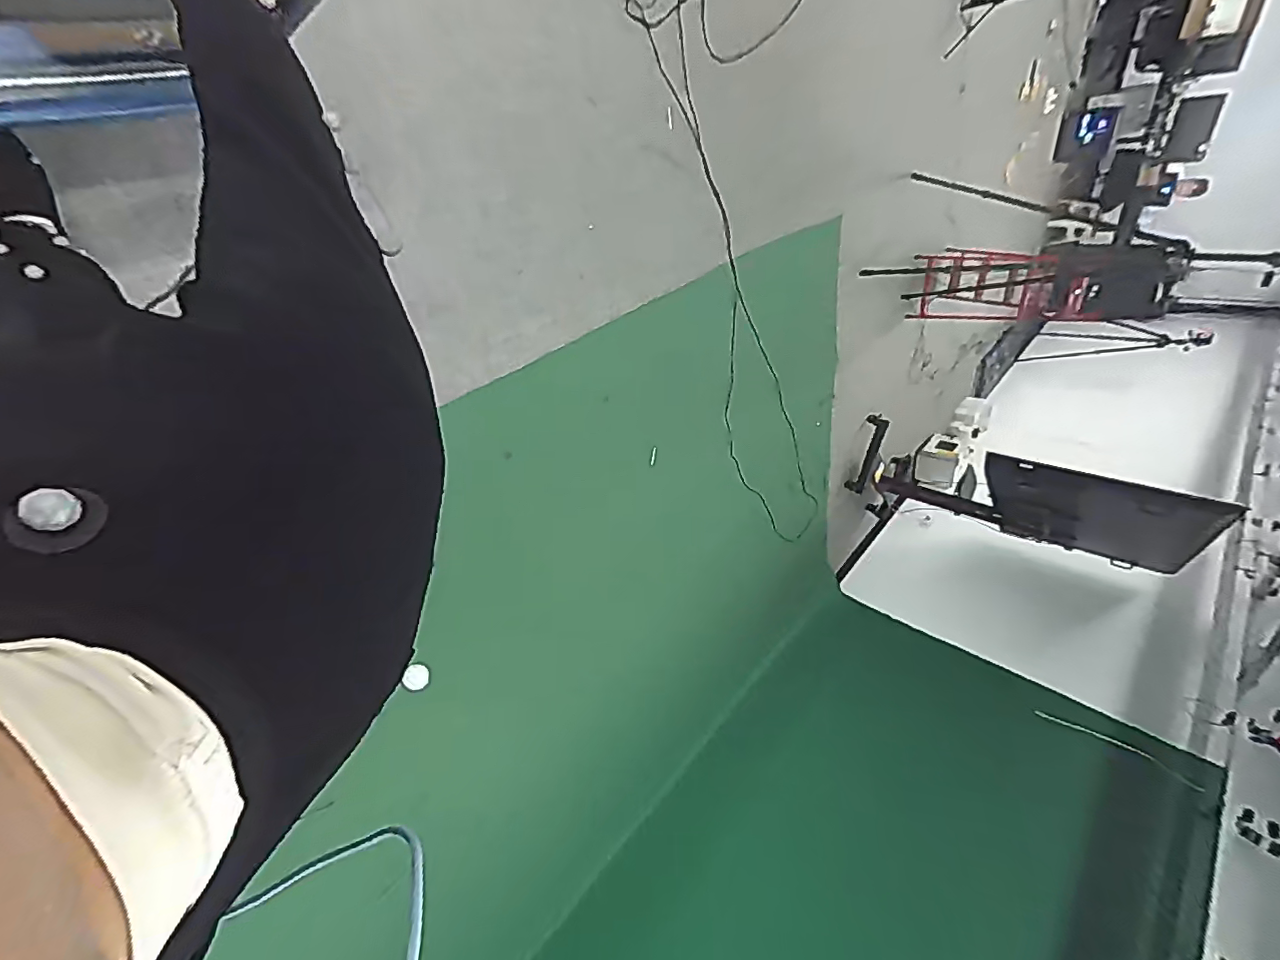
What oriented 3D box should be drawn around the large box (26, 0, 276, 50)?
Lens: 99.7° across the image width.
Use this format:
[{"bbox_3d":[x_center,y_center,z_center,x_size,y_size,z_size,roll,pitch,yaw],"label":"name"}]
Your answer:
[{"bbox_3d":[-0.784,-0.895,0.752,0.320,0.320,0.408,-37,131,-32],"label":"large box"}]
